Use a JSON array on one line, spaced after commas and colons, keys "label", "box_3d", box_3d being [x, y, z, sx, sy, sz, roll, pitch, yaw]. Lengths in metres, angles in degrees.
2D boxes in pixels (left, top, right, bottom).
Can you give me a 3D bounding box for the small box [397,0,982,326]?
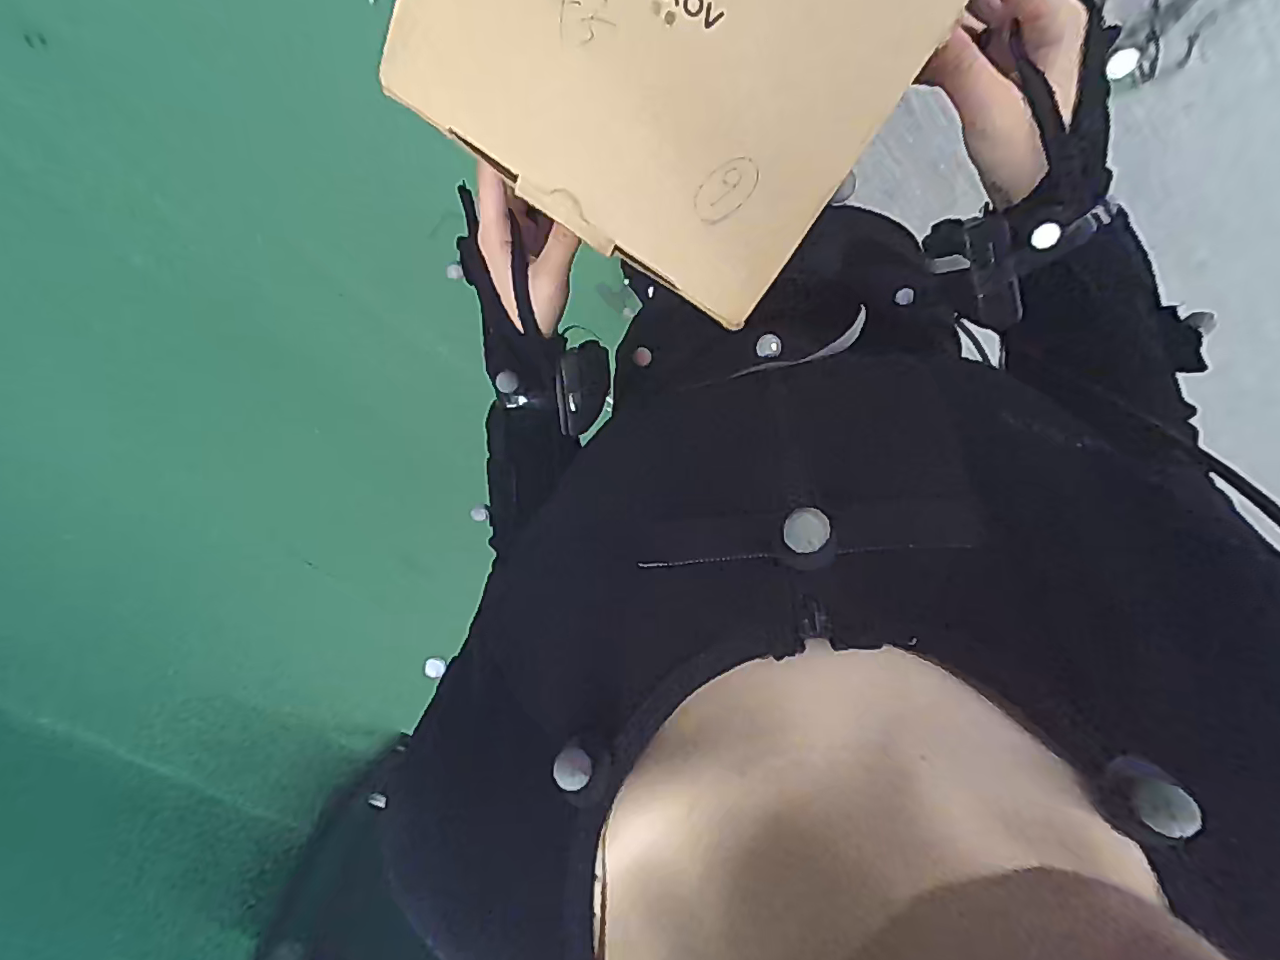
[{"label": "small box", "box_3d": [0.033, -0.201, 0.245, 0.168, 0.176, 0.179, 34, 116, -6]}]
